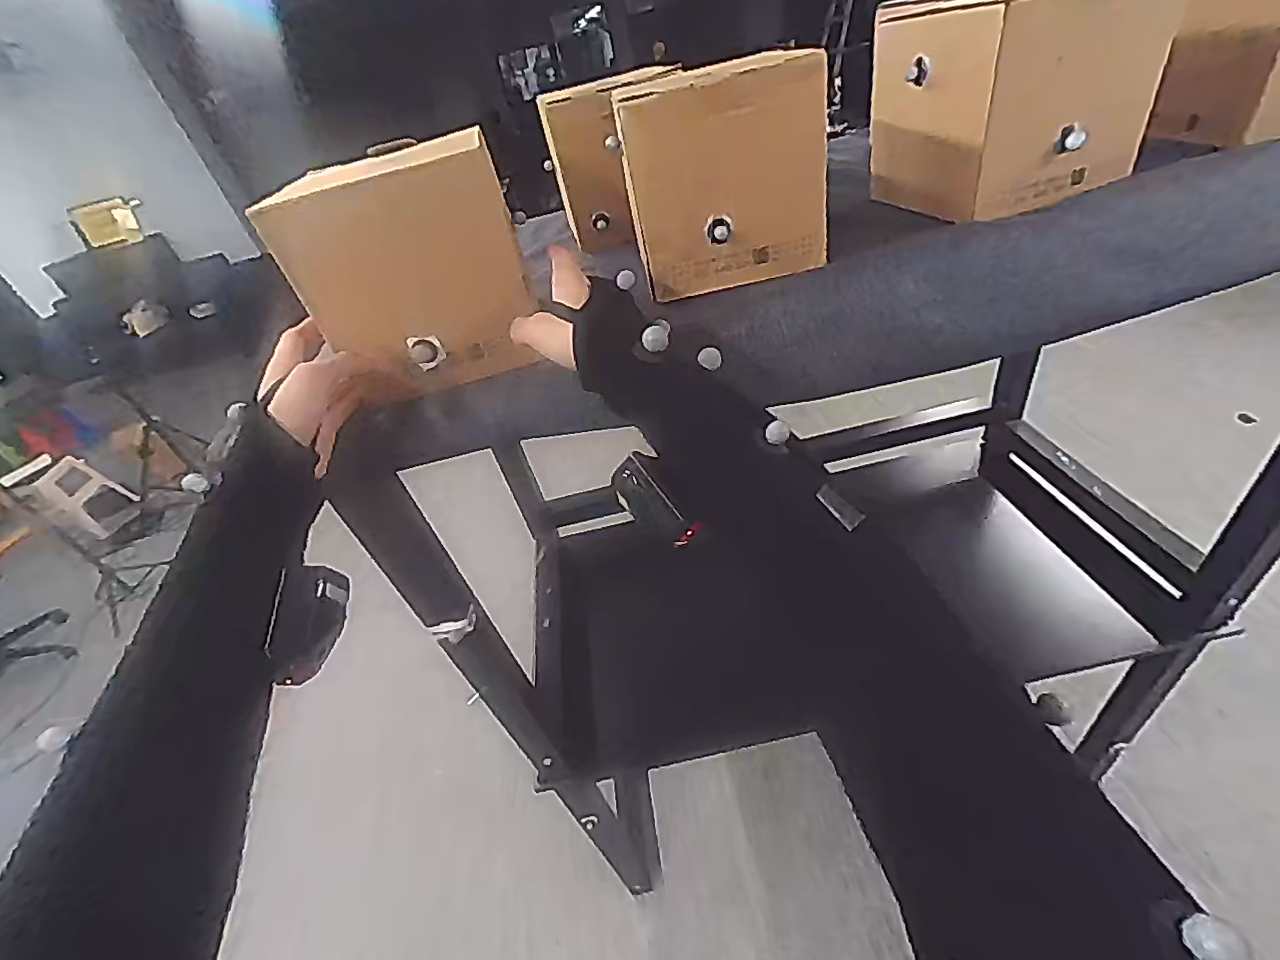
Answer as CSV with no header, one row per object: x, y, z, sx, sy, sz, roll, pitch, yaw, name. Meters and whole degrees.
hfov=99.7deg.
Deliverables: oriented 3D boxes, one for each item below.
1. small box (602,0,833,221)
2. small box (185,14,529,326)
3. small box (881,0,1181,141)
0.063,-0.353,0.491,0.168,0.176,0.179,-12,39,3,small box
-0.199,-0.248,0.442,0.168,0.176,0.179,-18,39,-3,small box
0.341,-0.425,0.490,0.168,0.176,0.179,-18,39,-3,small box
